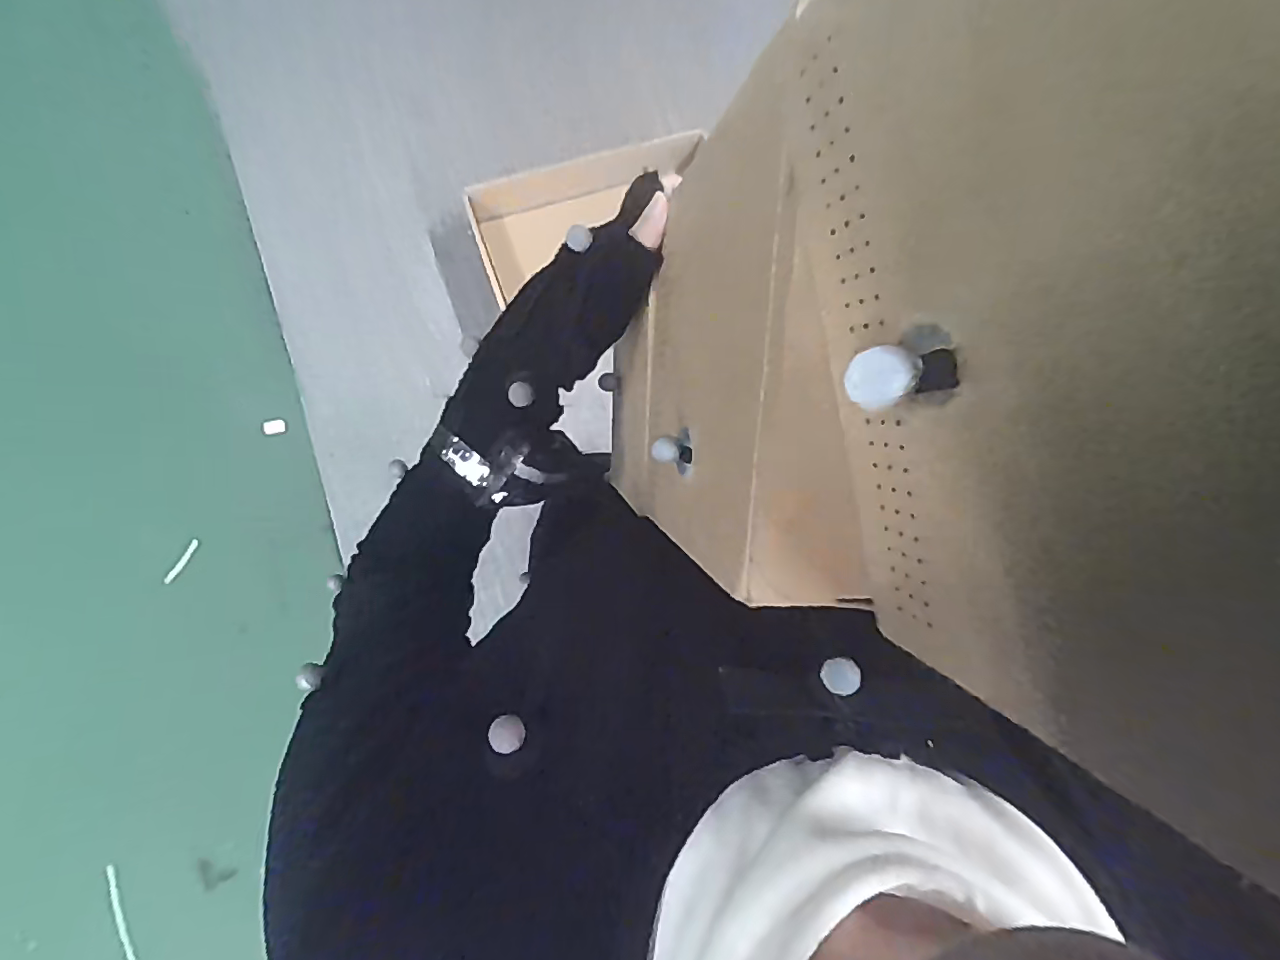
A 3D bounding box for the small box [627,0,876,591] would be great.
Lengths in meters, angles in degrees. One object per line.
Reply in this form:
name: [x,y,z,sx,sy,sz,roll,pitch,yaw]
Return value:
small box: [0.090,-0.059,0.252,0.168,0.176,0.179,2,96,-12]
